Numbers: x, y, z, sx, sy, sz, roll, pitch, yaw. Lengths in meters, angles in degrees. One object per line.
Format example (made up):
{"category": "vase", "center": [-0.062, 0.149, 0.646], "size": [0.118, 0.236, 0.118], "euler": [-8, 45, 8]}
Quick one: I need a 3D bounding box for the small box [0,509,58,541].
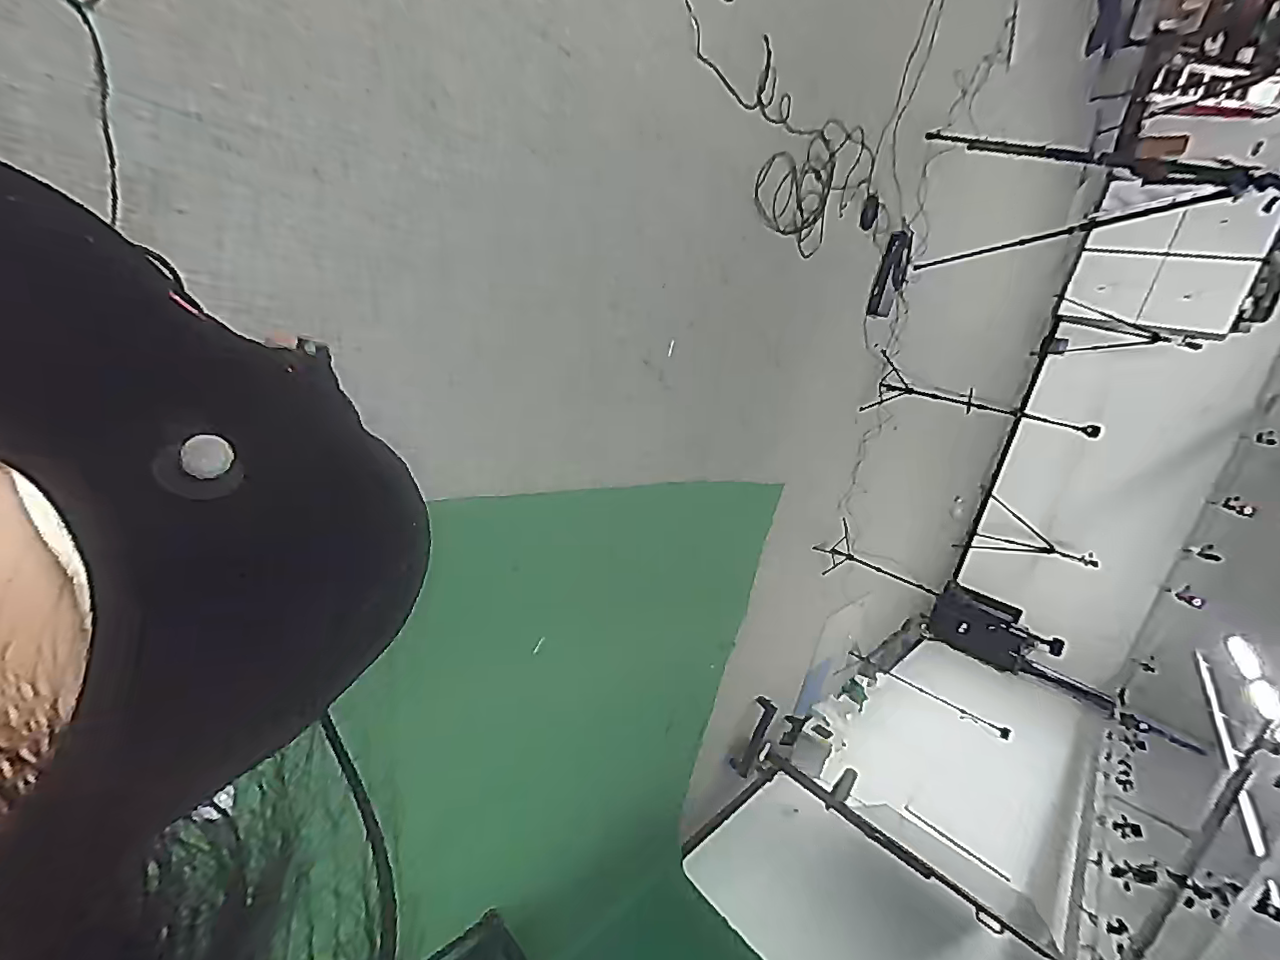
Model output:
{"category": "small box", "center": [-1.159, 0.155, 0.961], "size": [0.168, 0.176, 0.179], "euler": [0, 109, -47]}

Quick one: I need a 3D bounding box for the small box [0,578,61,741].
{"category": "small box", "center": [-0.929, 0.251, 0.745], "size": [0.179, 0.176, 0.168], "euler": [0, 109, -48]}

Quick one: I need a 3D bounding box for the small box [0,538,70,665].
{"category": "small box", "center": [-1.038, 0.199, 0.858], "size": [0.179, 0.176, 0.168], "euler": [1, 108, -47]}
